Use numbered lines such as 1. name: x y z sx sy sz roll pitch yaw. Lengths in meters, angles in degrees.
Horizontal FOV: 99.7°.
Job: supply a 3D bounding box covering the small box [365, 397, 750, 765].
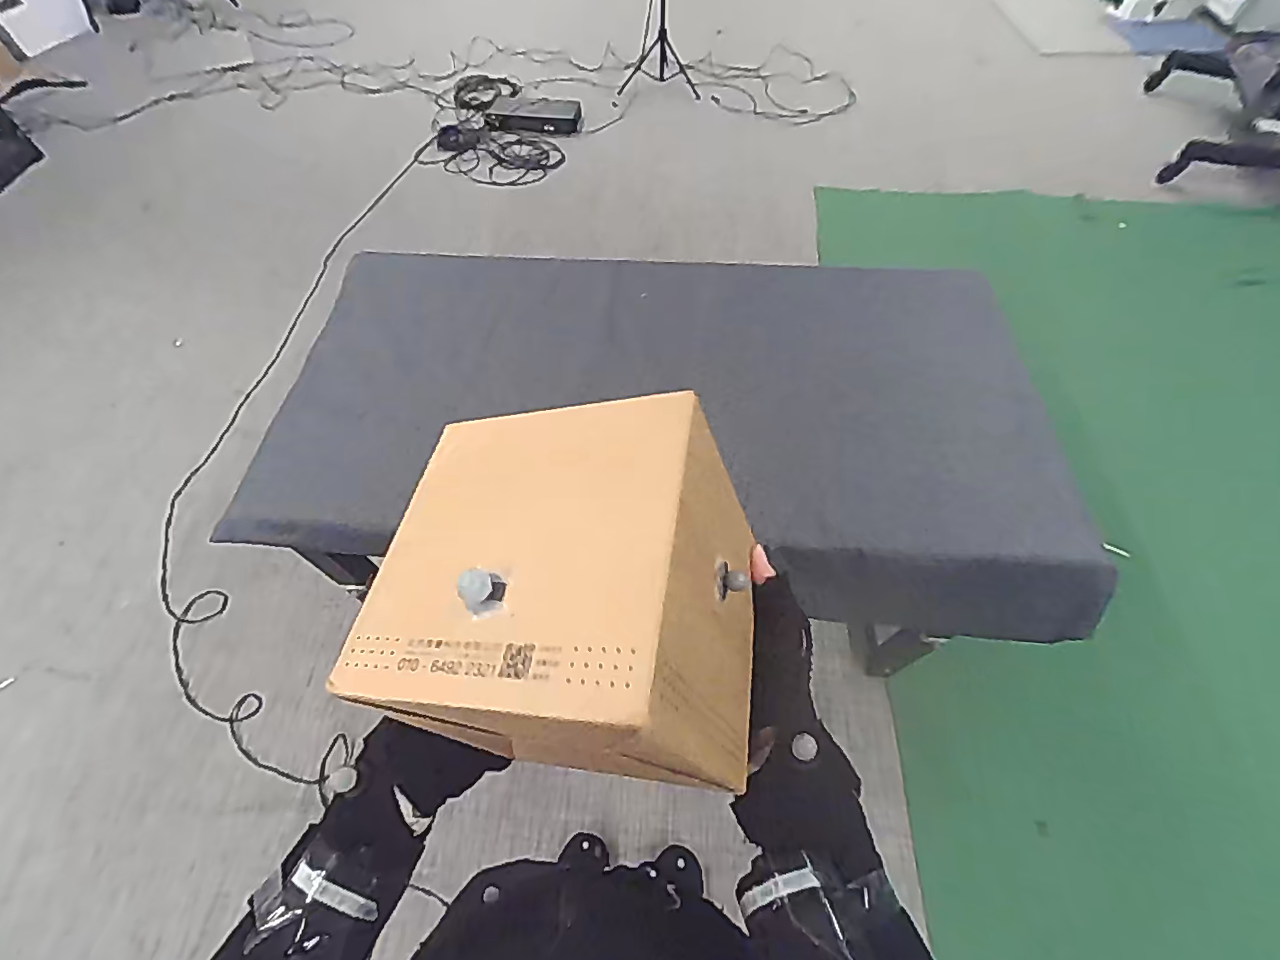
1. small box: -0.032 0.076 0.348 0.168 0.179 0.176 -6 53 22
